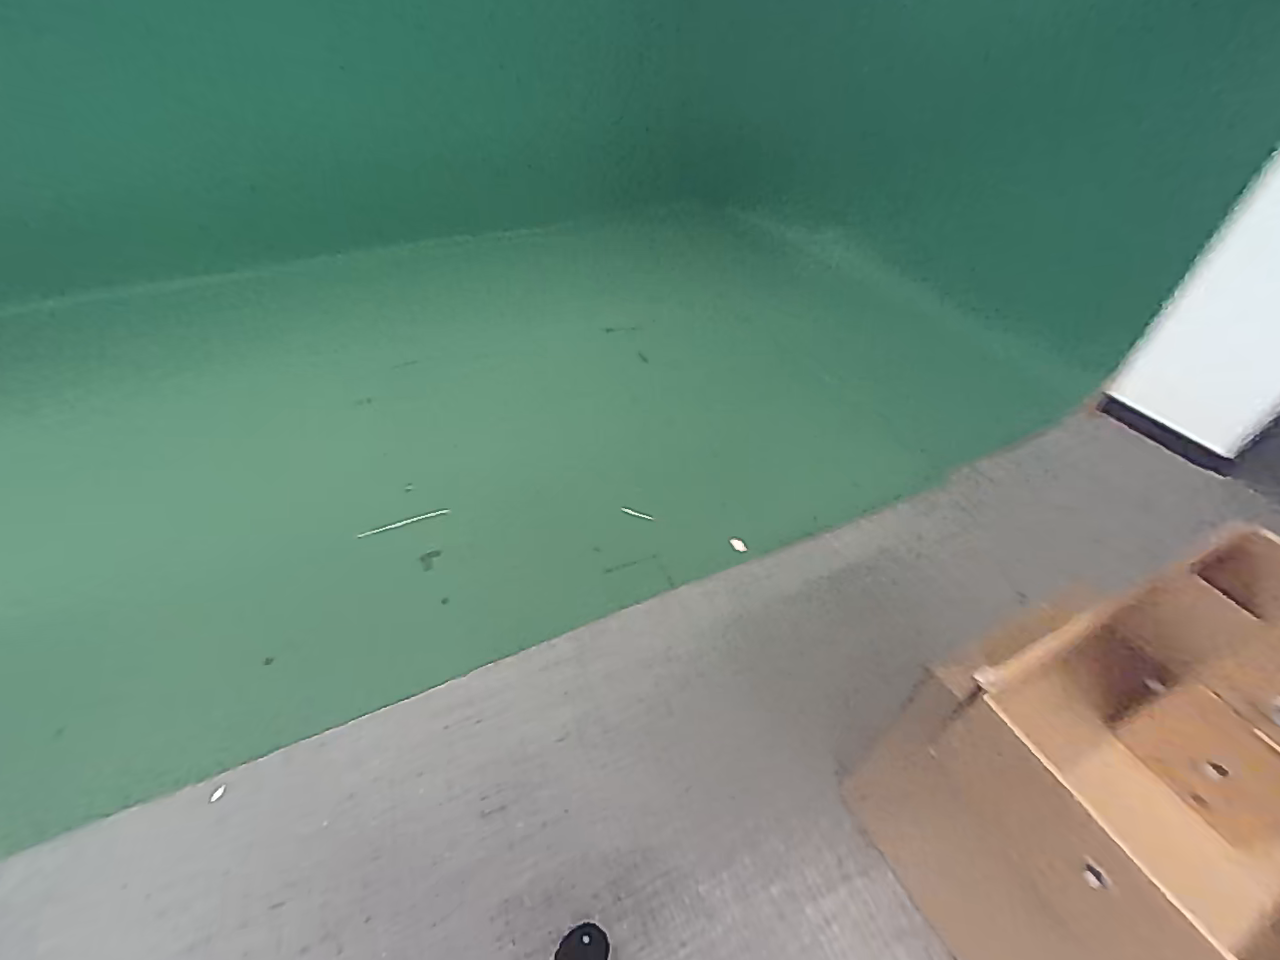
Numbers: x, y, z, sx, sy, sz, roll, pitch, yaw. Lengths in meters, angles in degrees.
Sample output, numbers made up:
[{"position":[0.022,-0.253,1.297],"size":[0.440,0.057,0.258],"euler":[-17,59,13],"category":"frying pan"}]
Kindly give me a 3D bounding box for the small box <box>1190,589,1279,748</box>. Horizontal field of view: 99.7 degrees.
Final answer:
[{"position":[0.765,0.195,0.576],"size":[0.179,0.176,0.168],"euler":[-22,49,-20],"category":"small box"}]
